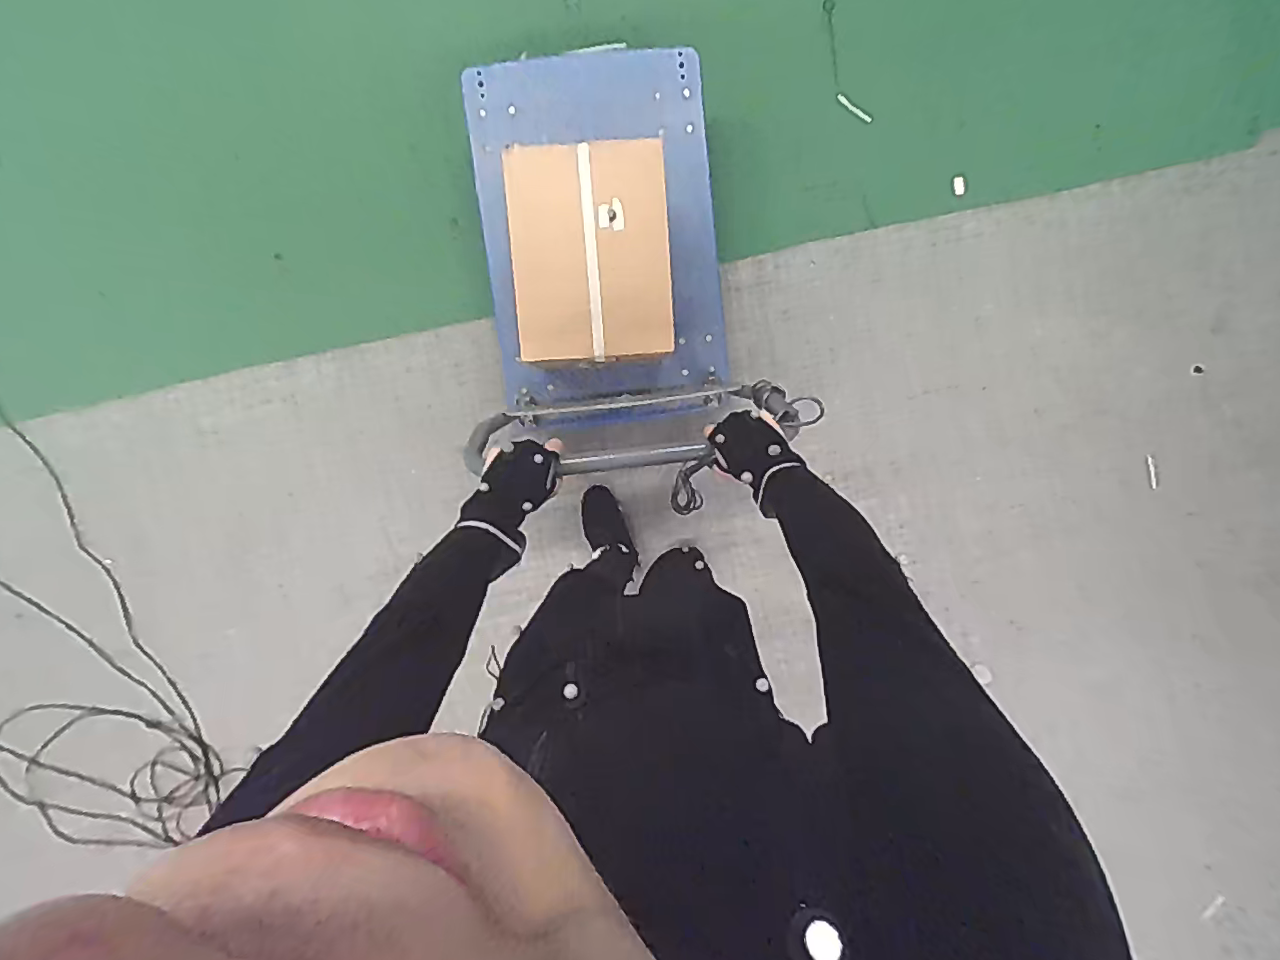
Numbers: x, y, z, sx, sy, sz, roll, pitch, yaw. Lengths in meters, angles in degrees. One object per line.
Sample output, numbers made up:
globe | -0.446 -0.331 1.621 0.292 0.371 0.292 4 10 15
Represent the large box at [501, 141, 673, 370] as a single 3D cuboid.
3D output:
large box | -0.105 -0.469 1.215 0.320 0.320 0.408 -4 98 -2
